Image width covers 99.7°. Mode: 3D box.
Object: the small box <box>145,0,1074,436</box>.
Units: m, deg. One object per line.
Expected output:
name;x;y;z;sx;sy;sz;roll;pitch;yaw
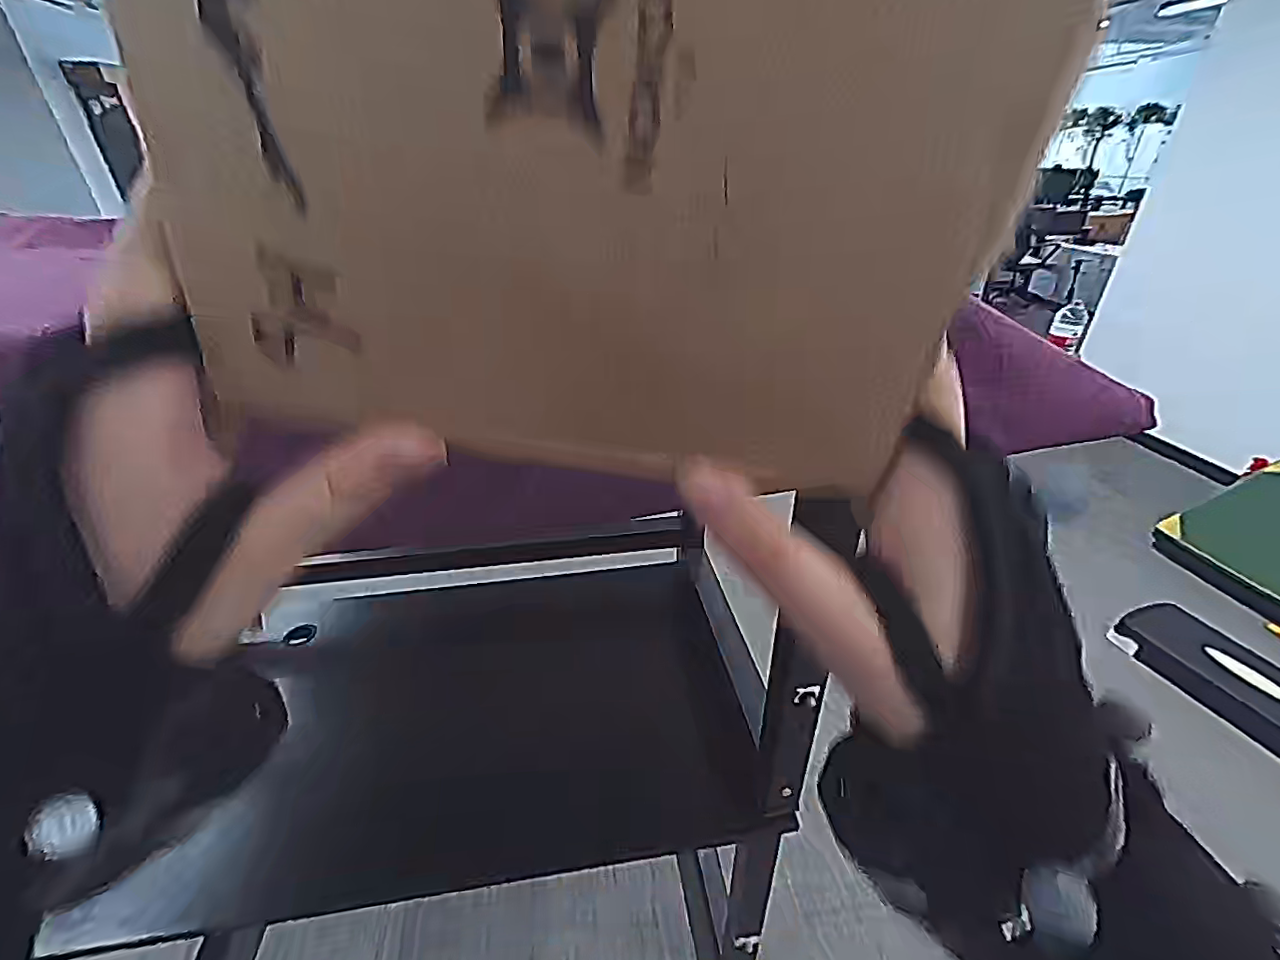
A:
small box;-0.006;-0.131;0.170;0.179;0.168;0.176;7;29;-5
